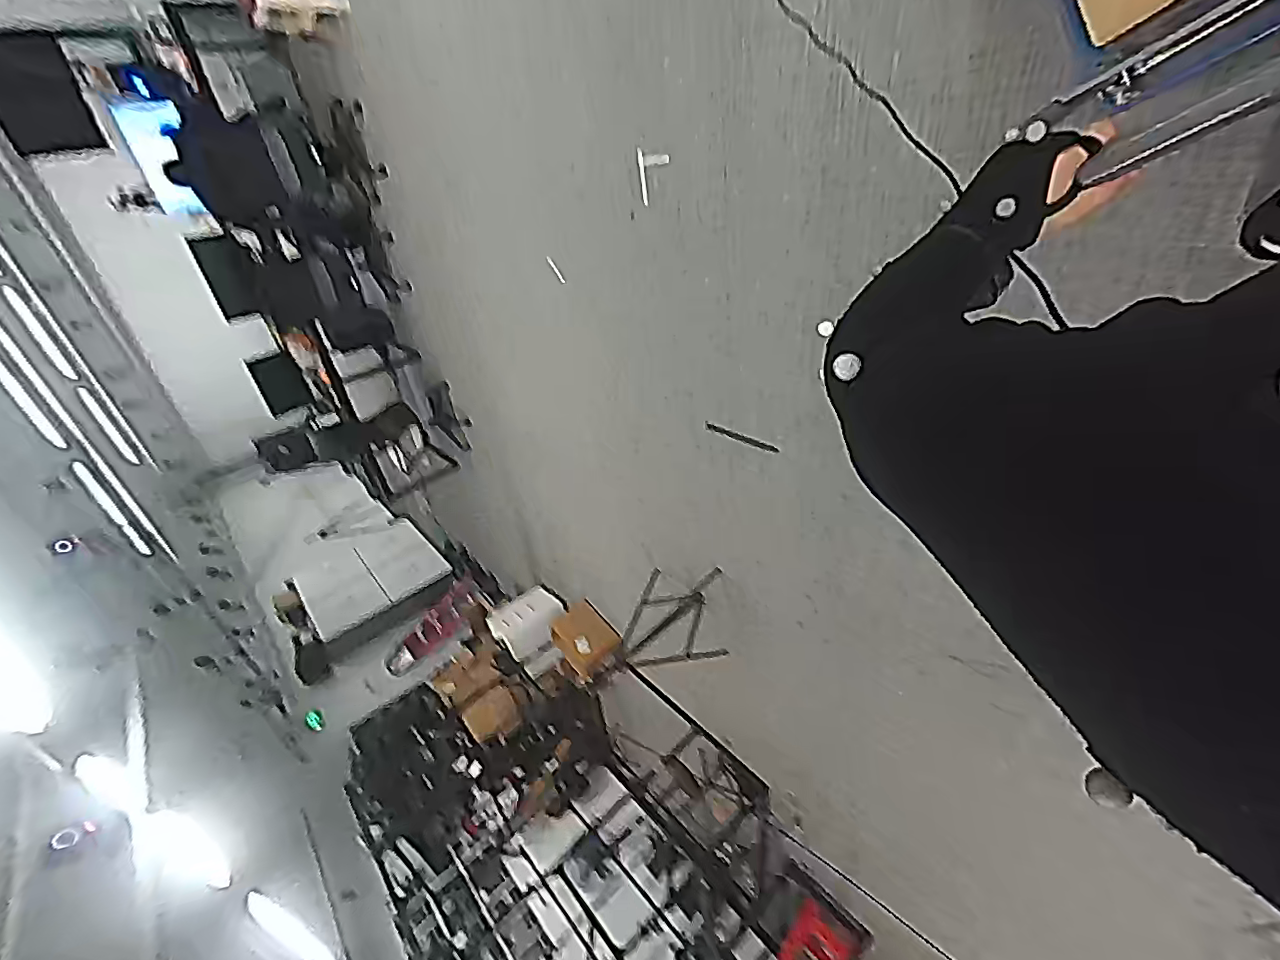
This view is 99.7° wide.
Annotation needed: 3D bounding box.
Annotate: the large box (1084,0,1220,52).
[{"bbox_3d":[0.703,-0.752,0.551,0.408,0.320,0.320,-13,110,58],"label":"large box"}]
